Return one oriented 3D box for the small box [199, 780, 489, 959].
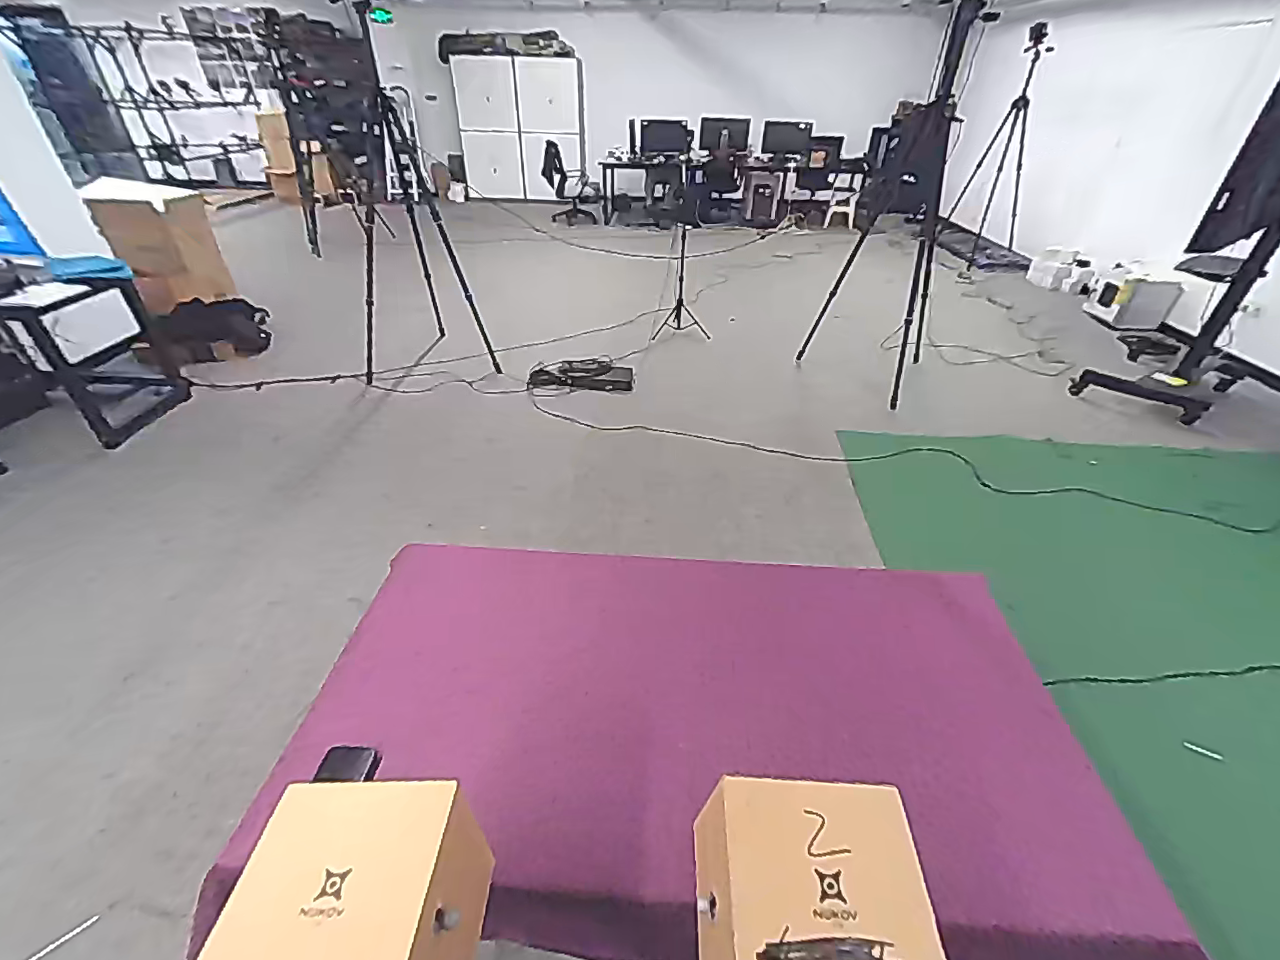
[{"bbox_3d":[-0.244,0.399,0.484,0.168,0.176,0.179,-1,35,2],"label":"small box"}]
